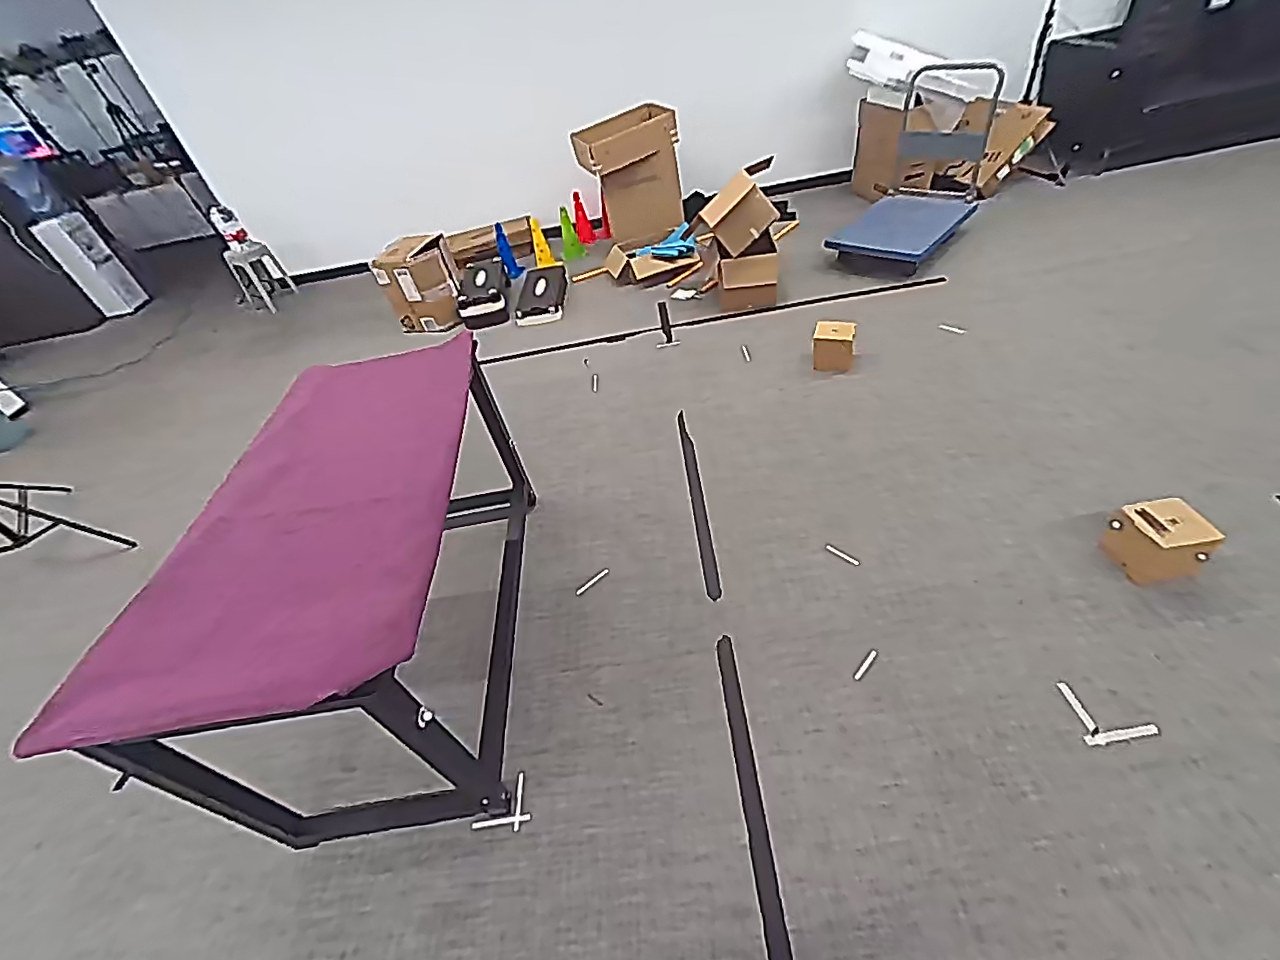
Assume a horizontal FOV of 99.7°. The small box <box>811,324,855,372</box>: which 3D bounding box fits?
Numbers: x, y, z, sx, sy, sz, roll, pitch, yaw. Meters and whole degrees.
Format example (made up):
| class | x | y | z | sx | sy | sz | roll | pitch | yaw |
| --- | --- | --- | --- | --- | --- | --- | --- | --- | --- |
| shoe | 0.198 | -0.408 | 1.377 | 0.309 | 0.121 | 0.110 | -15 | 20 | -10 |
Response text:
| class | x | y | z | sx | sy | sz | roll | pitch | yaw |
| --- | --- | --- | --- | --- | --- | --- | --- | --- | --- |
| small box | 0.927 | -0.637 | 2.602 | 0.179 | 0.176 | 0.168 | 9 | 46 | 21 |
